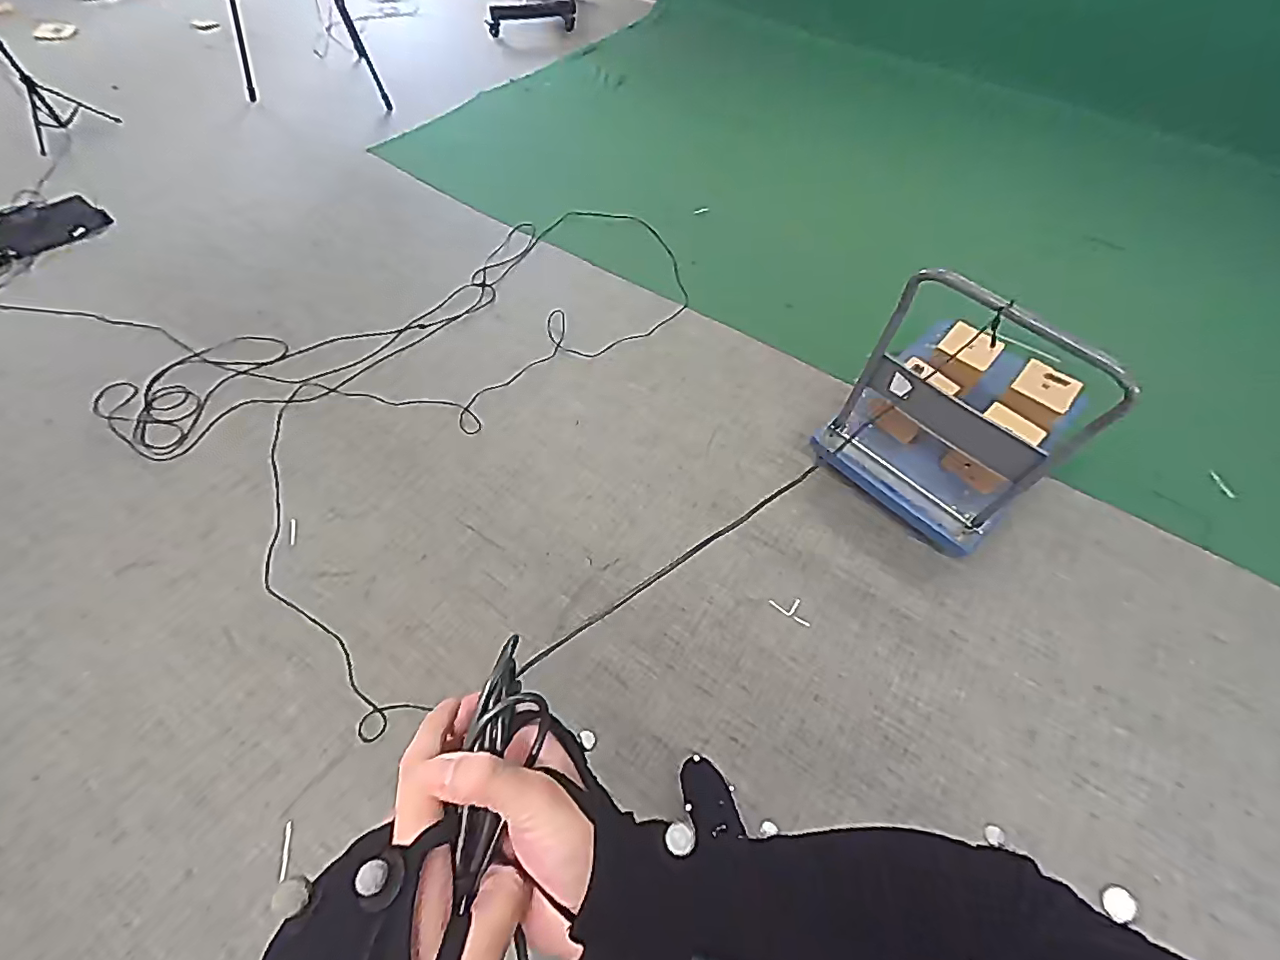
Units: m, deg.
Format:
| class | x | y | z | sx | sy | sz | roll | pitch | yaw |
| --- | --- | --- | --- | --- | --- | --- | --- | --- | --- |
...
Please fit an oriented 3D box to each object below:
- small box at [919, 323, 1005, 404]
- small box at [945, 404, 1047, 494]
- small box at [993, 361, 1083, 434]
| class | x | y | z | sx | sy | sz | roll | pitch | yaw |
| --- | --- | --- | --- | --- | --- | --- | --- | --- | --- |
| small box | 1.088 | -0.392 | 1.844 | 0.168 | 0.176 | 0.179 | 39 | 64 | 20 |
| small box | 1.077 | -0.092 | 1.651 | 0.179 | 0.176 | 0.168 | -37 | 65 | -22 |
| small box | 1.274 | -0.247 | 1.755 | 0.168 | 0.176 | 0.179 | 38 | 65 | 22 |
